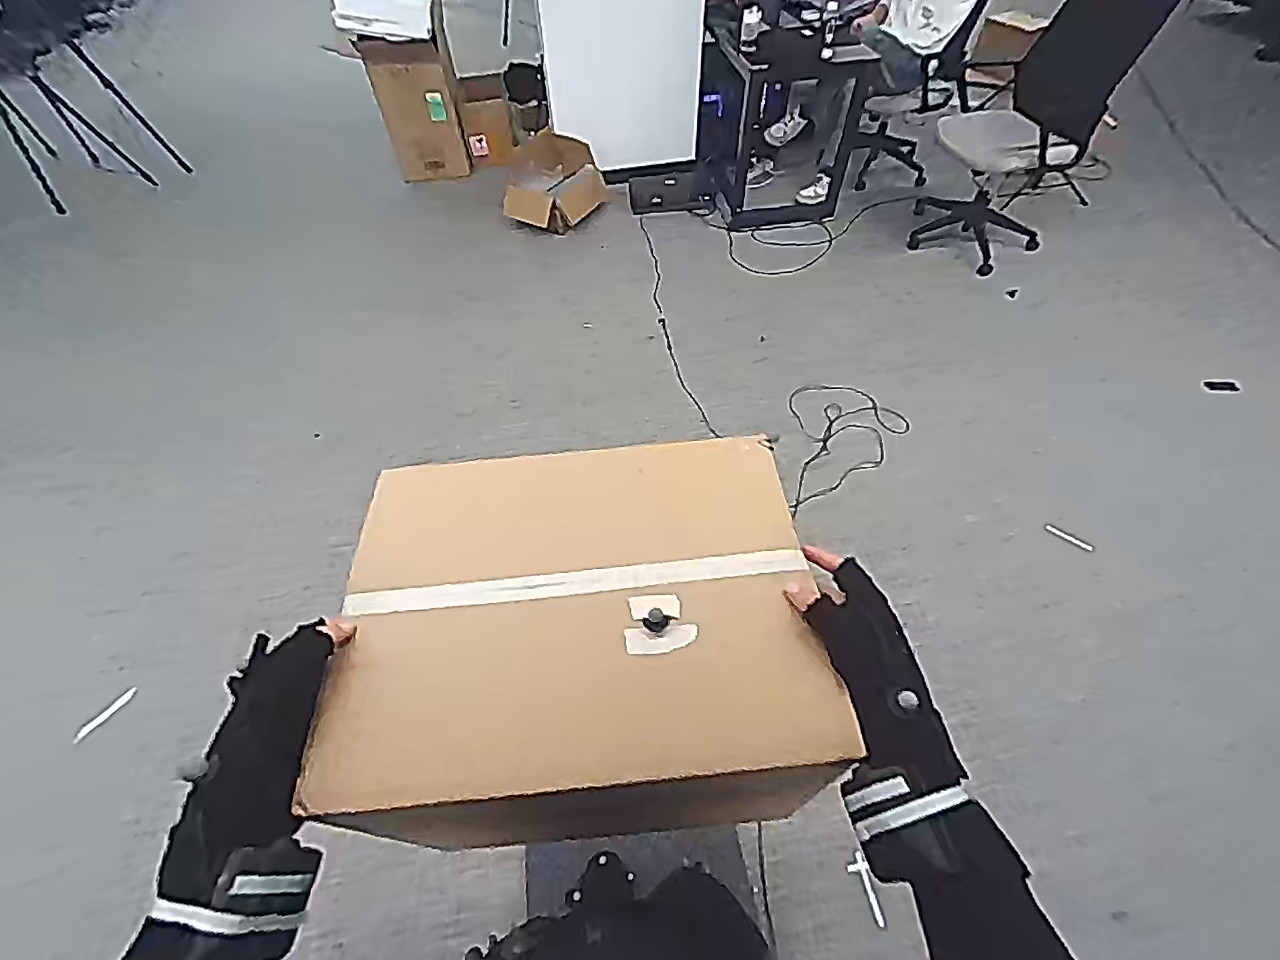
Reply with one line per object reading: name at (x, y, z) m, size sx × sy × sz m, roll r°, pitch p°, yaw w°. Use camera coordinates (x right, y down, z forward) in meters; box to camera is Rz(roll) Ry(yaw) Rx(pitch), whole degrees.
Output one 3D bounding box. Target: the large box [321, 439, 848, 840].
large box at (-0.047, 0.185, 0.608) m, size 0.408 × 0.320 × 0.320 m, roll -5°, pitch 52°, yaw -1°
